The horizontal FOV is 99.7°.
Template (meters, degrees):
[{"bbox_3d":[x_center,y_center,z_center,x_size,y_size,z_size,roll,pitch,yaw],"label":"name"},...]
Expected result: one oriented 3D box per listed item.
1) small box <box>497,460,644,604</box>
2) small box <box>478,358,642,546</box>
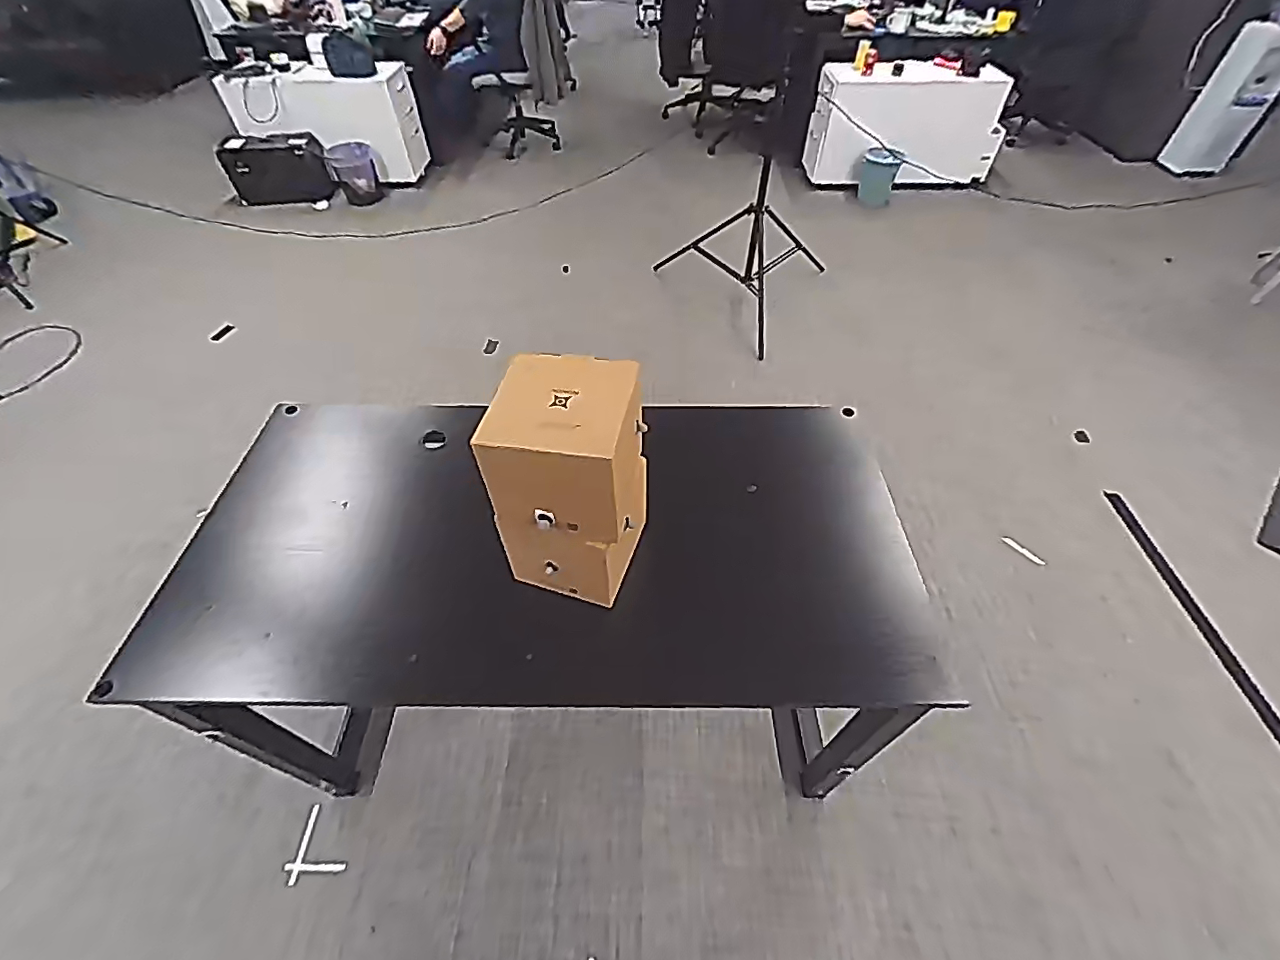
[{"bbox_3d":[-0.095,0.067,0.845,0.168,0.176,0.179,14,50,12],"label":"small box"},{"bbox_3d":[-0.092,-0.037,0.720,0.168,0.176,0.179,6,50,7],"label":"small box"}]
